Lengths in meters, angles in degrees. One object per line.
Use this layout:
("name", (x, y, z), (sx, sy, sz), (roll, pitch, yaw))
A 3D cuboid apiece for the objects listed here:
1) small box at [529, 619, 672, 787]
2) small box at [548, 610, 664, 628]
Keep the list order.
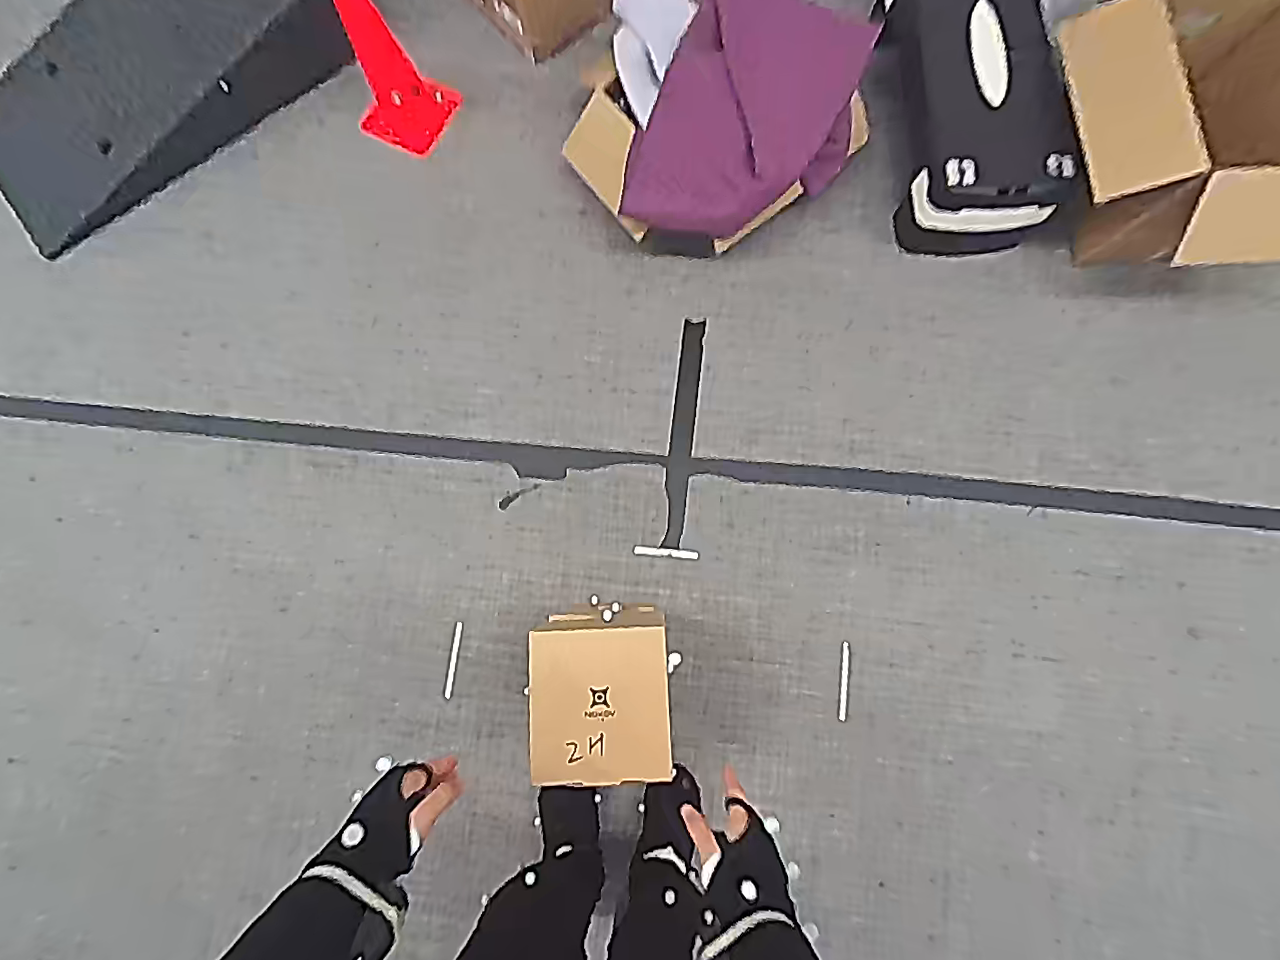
("small box", (-0.046, 0.277, 0.710), (0.168, 0.176, 0.179), (-3, 80, 1))
("small box", (-0.051, 0.301, 0.873), (0.179, 0.176, 0.168), (1, 80, 1))
